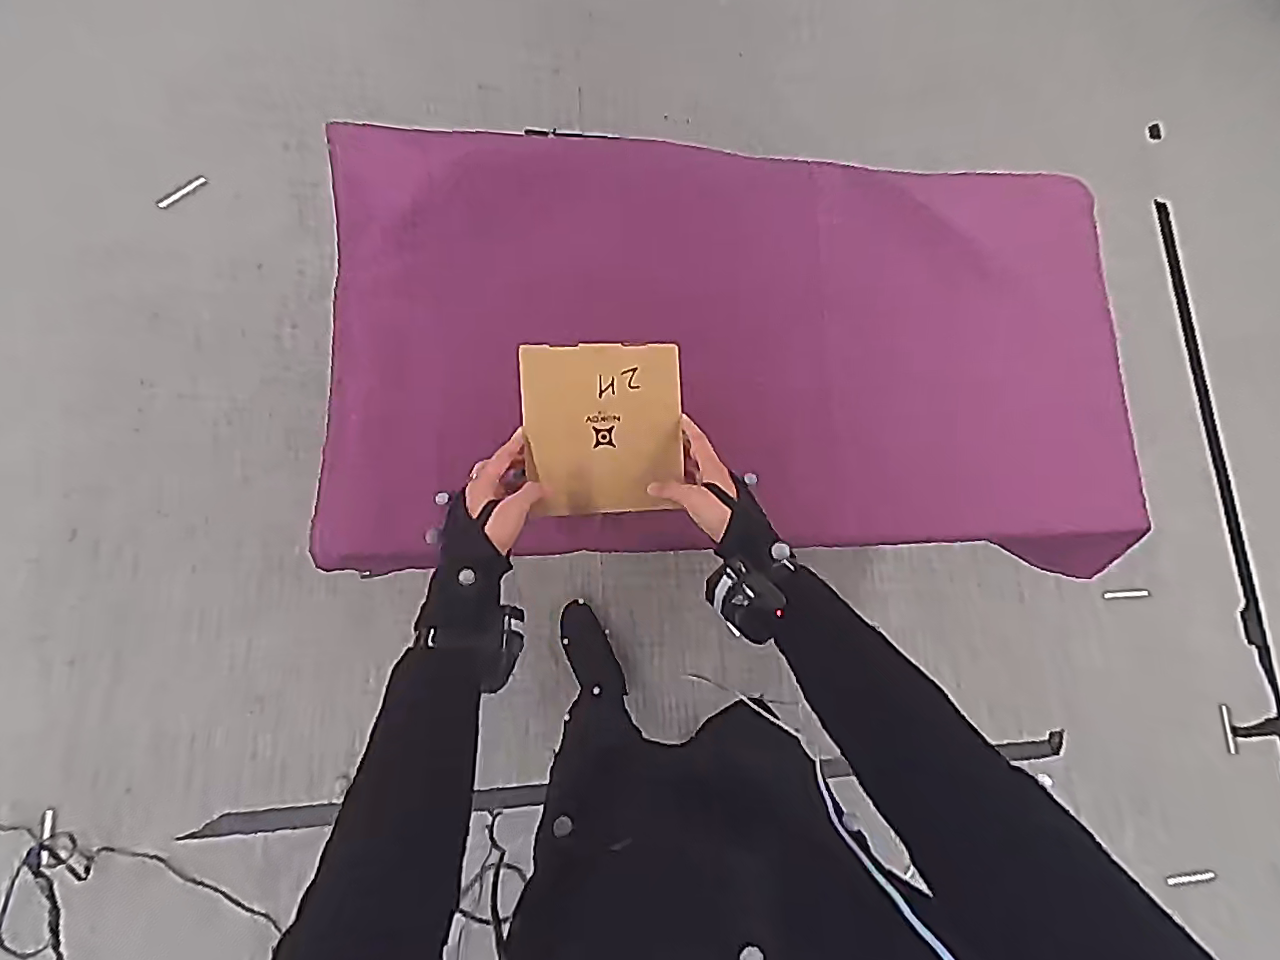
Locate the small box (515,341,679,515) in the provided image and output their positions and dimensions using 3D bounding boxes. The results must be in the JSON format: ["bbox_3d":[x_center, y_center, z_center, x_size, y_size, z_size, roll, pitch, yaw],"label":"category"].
[{"bbox_3d":[-0.054,-0.056,0.630,0.168,0.176,0.179,-3,91,-9],"label":"small box"}]
